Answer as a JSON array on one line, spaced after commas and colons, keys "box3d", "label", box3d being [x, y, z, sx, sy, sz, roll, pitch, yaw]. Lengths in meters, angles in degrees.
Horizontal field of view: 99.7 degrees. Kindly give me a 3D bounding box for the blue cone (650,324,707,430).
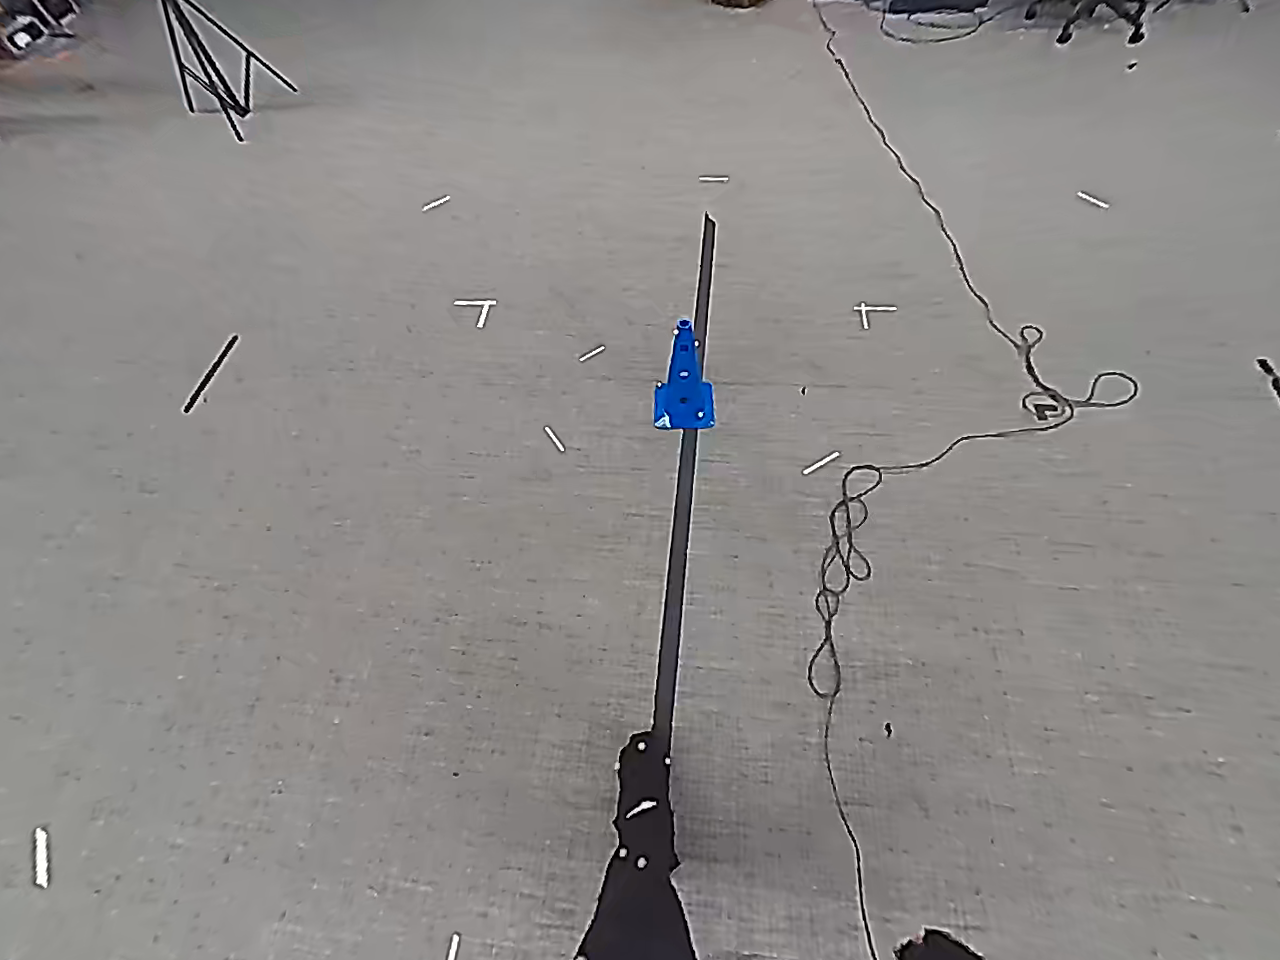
[{"box3d": [0.118, -0.334, 1.700, 0.192, 0.380, 0.193, 0, 57, 5], "label": "blue cone"}]
